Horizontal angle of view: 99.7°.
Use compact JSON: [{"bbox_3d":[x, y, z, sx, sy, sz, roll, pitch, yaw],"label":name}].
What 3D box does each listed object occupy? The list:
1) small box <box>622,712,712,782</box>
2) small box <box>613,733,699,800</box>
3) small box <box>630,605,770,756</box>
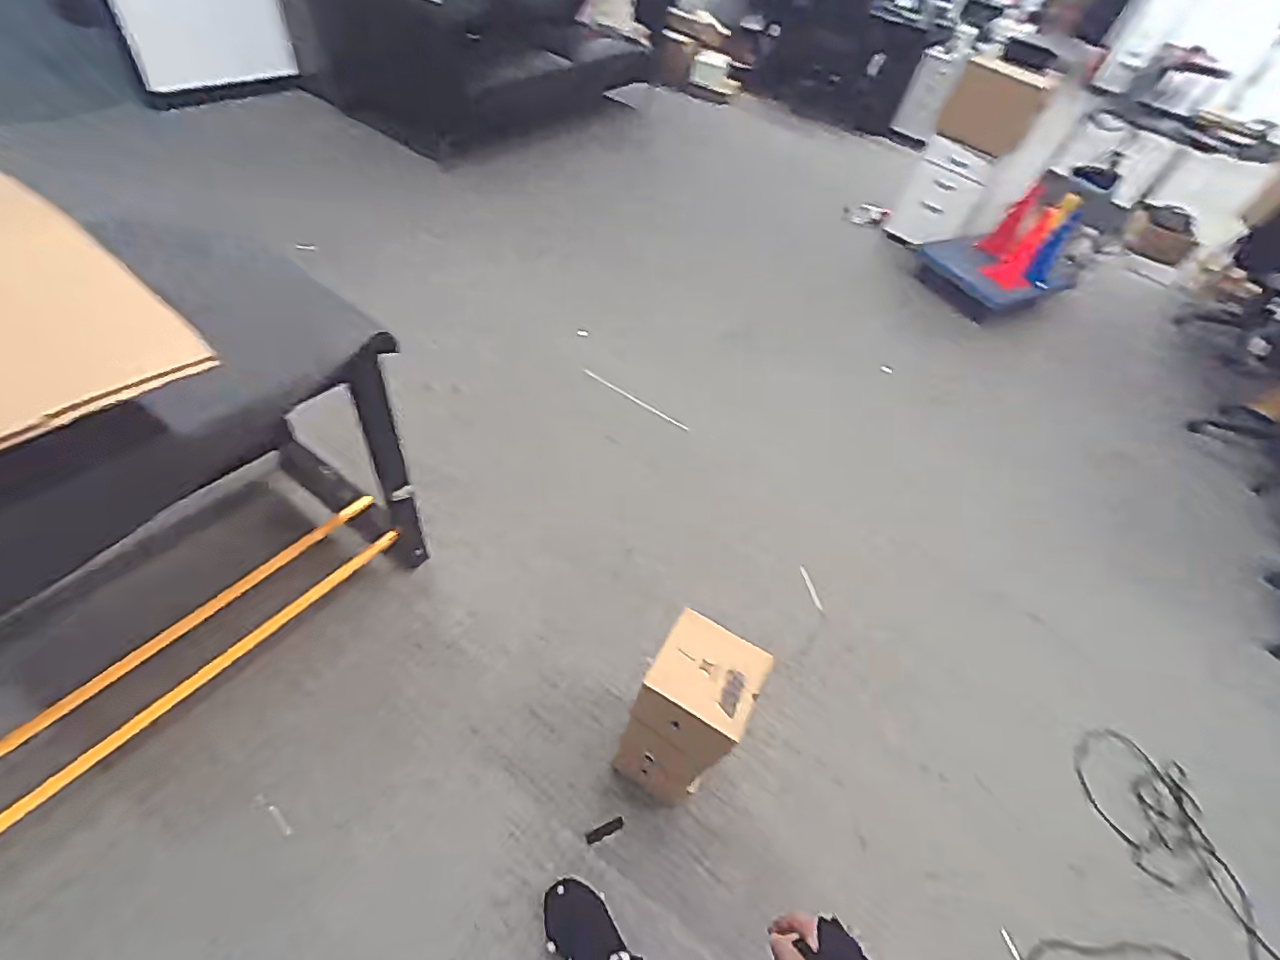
[{"bbox_3d":[0.077,0.468,1.089,0.168,0.176,0.179,27,51,12],"label":"small box"},{"bbox_3d":[0.055,0.580,1.206,0.179,0.176,0.168,28,50,12],"label":"small box"},{"bbox_3d":[0.101,0.363,0.964,0.179,0.176,0.168,28,50,13],"label":"small box"}]
